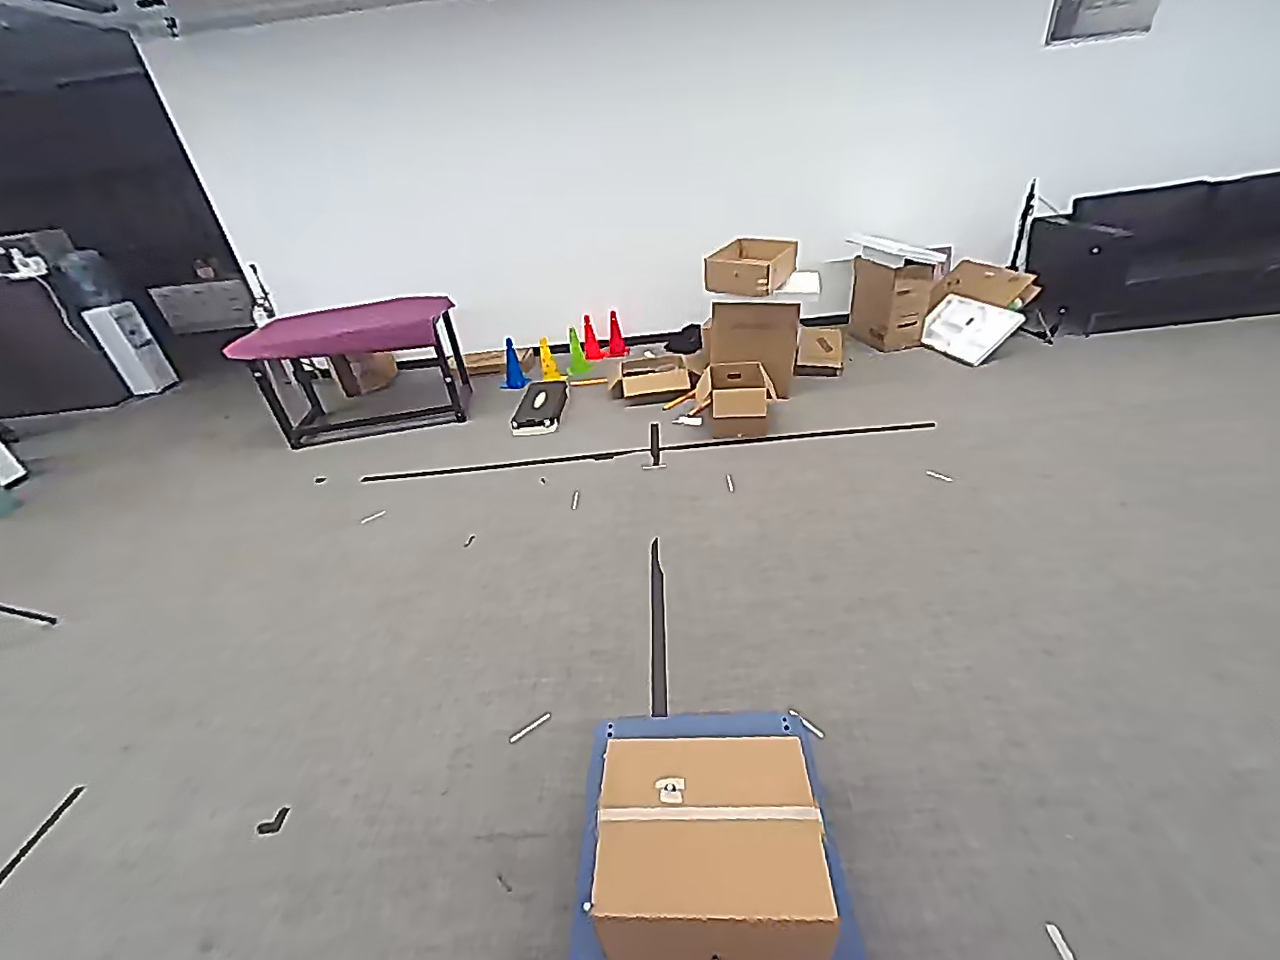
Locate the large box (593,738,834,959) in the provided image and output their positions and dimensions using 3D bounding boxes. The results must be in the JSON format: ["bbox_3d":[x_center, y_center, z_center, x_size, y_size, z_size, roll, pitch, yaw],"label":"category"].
[{"bbox_3d":[0.141,0.760,1.090,0.408,0.320,0.320,-5,31,6],"label":"large box"}]
